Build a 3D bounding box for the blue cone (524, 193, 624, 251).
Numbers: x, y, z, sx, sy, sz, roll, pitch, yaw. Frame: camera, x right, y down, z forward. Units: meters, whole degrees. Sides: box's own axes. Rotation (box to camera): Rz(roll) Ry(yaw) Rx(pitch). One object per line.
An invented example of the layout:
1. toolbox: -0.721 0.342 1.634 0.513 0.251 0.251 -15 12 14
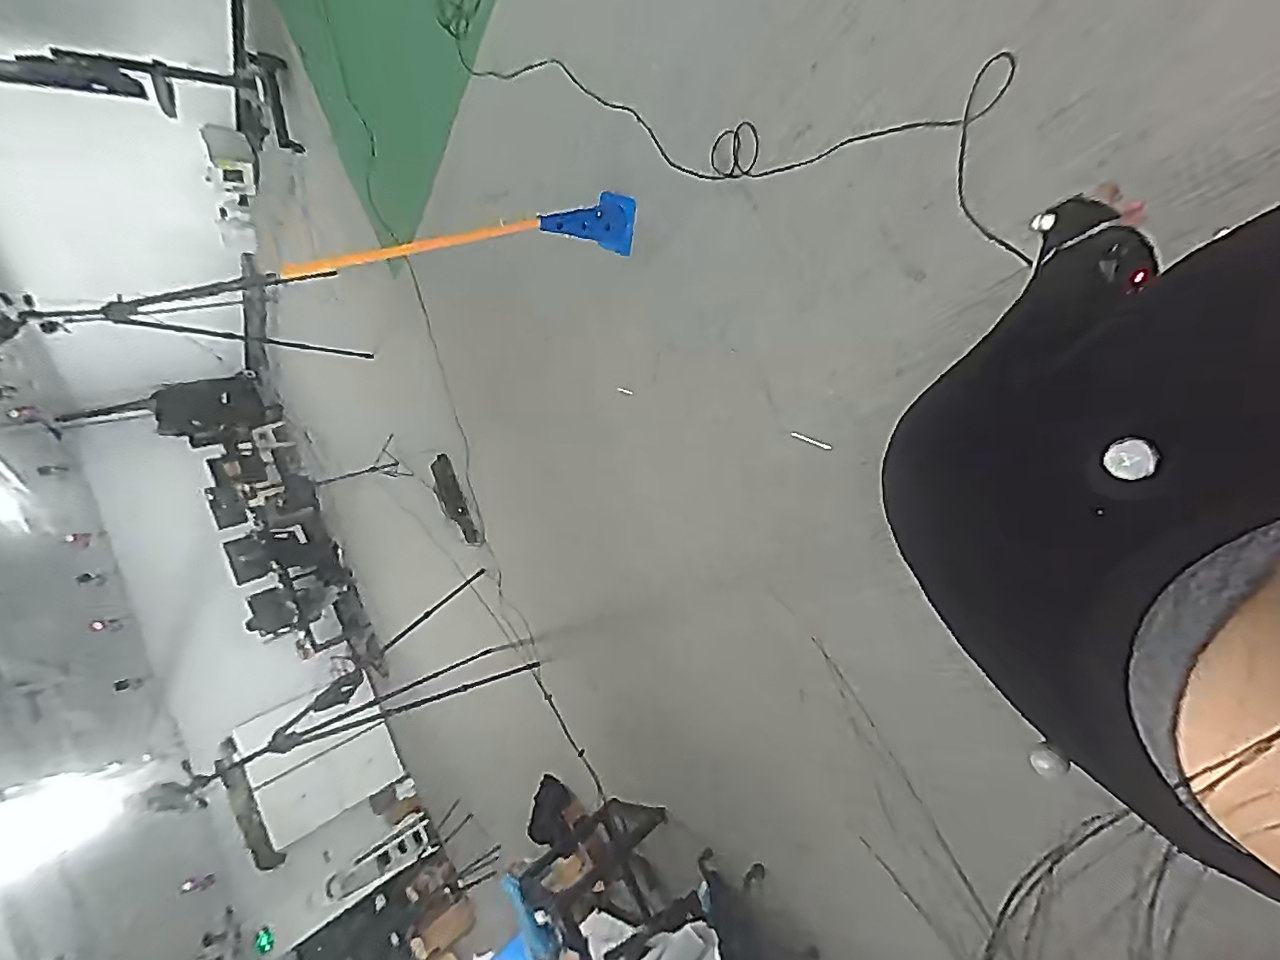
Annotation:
1. blue cone: -0.246 -0.929 1.949 0.192 0.380 0.193 33 130 34
